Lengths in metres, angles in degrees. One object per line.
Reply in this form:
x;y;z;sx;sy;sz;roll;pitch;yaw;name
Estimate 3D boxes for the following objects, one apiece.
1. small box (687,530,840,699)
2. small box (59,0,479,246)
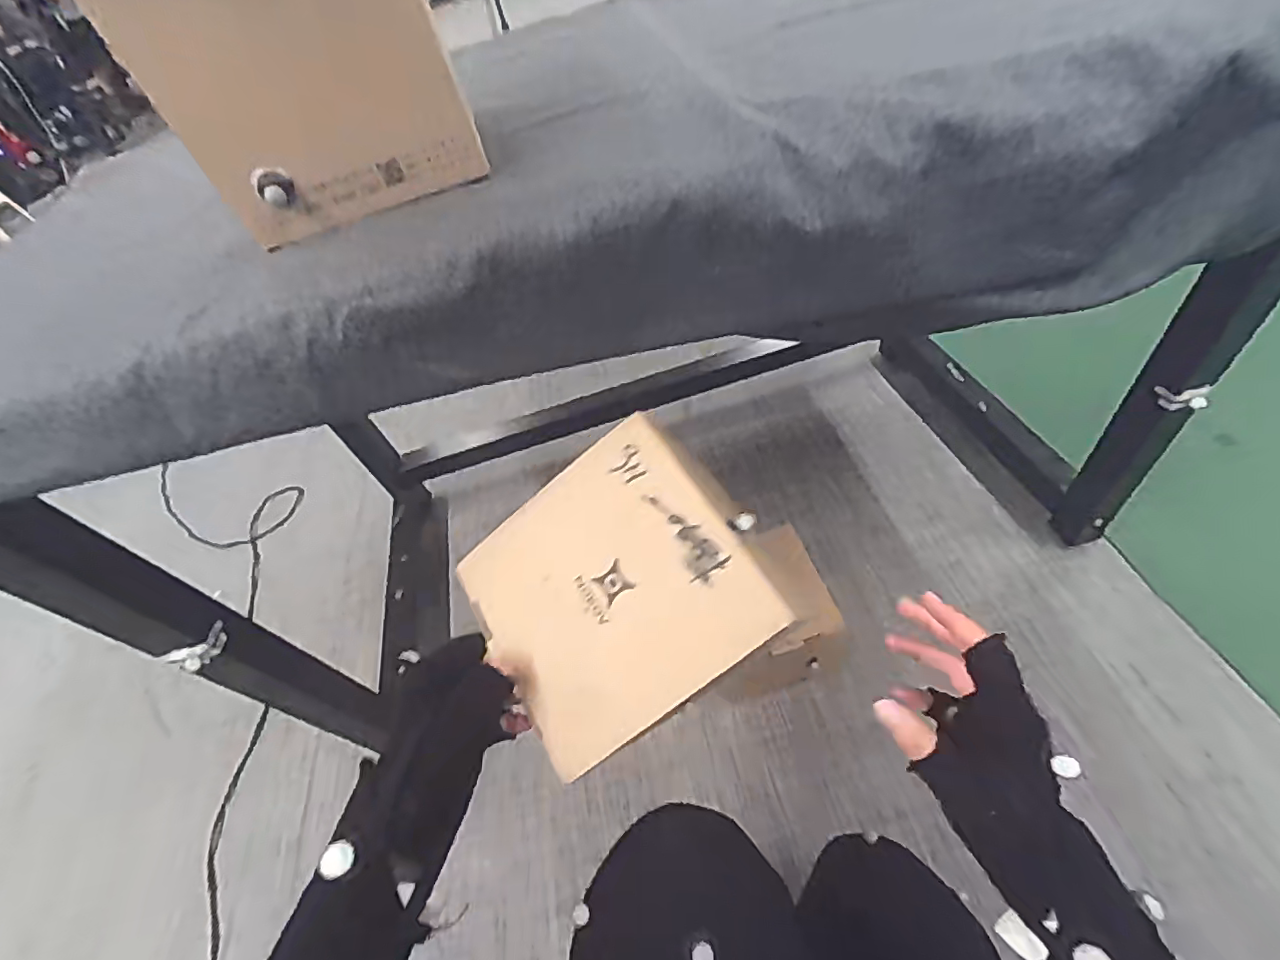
0.184;0.211;0.818;0.168;0.176;0.179;-18;47;-1;small box
-0.224;-0.286;0.375;0.168;0.176;0.179;-20;46;-2;small box
